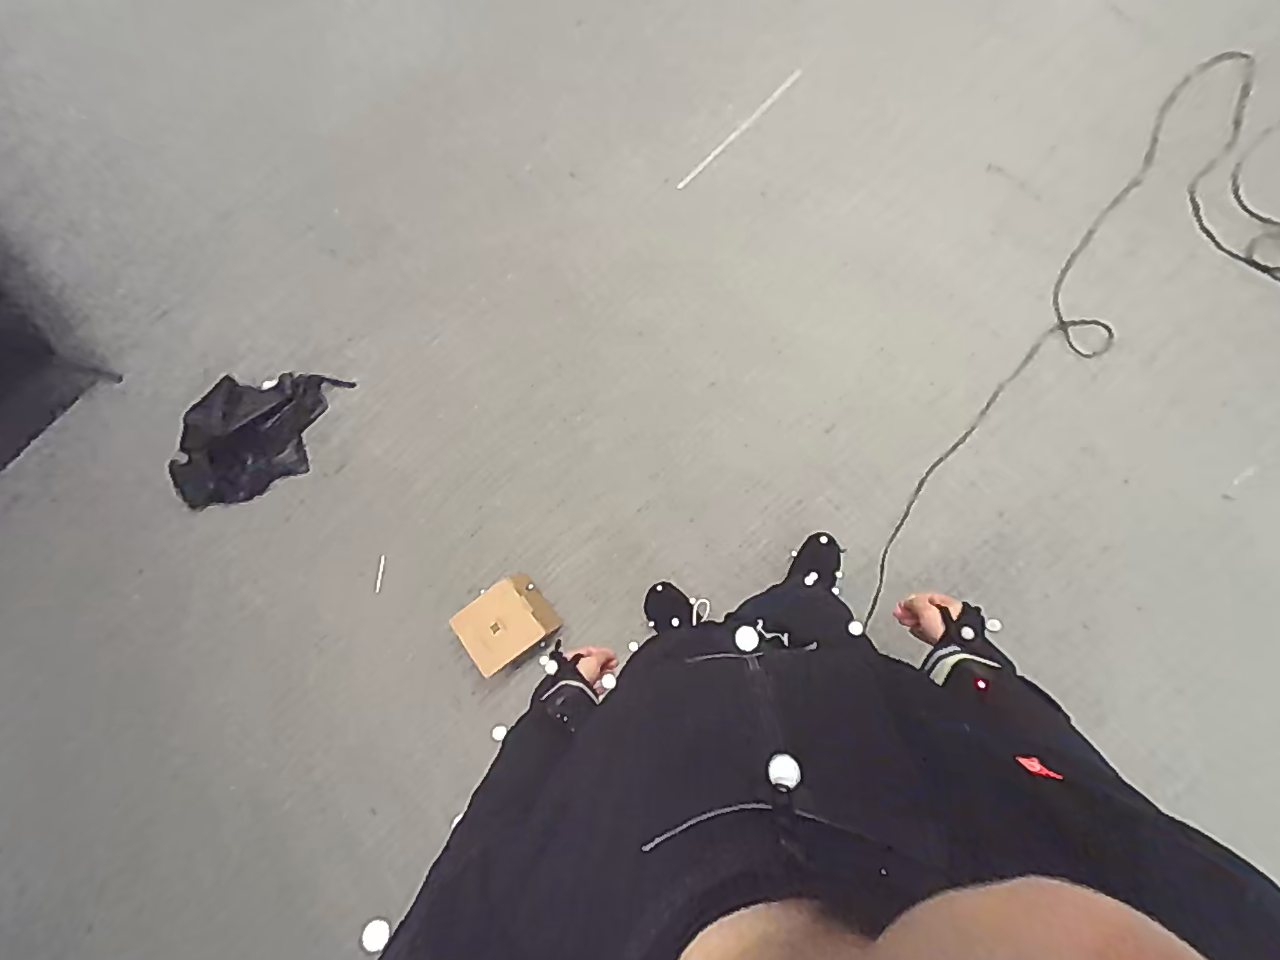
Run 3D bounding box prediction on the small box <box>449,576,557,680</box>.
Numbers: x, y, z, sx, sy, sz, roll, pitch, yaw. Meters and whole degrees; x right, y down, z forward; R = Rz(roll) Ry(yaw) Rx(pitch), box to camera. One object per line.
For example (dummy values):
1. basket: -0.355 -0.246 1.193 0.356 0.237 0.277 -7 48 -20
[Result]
1. small box: -0.320 0.348 1.311 0.179 0.176 0.168 -38 80 1
